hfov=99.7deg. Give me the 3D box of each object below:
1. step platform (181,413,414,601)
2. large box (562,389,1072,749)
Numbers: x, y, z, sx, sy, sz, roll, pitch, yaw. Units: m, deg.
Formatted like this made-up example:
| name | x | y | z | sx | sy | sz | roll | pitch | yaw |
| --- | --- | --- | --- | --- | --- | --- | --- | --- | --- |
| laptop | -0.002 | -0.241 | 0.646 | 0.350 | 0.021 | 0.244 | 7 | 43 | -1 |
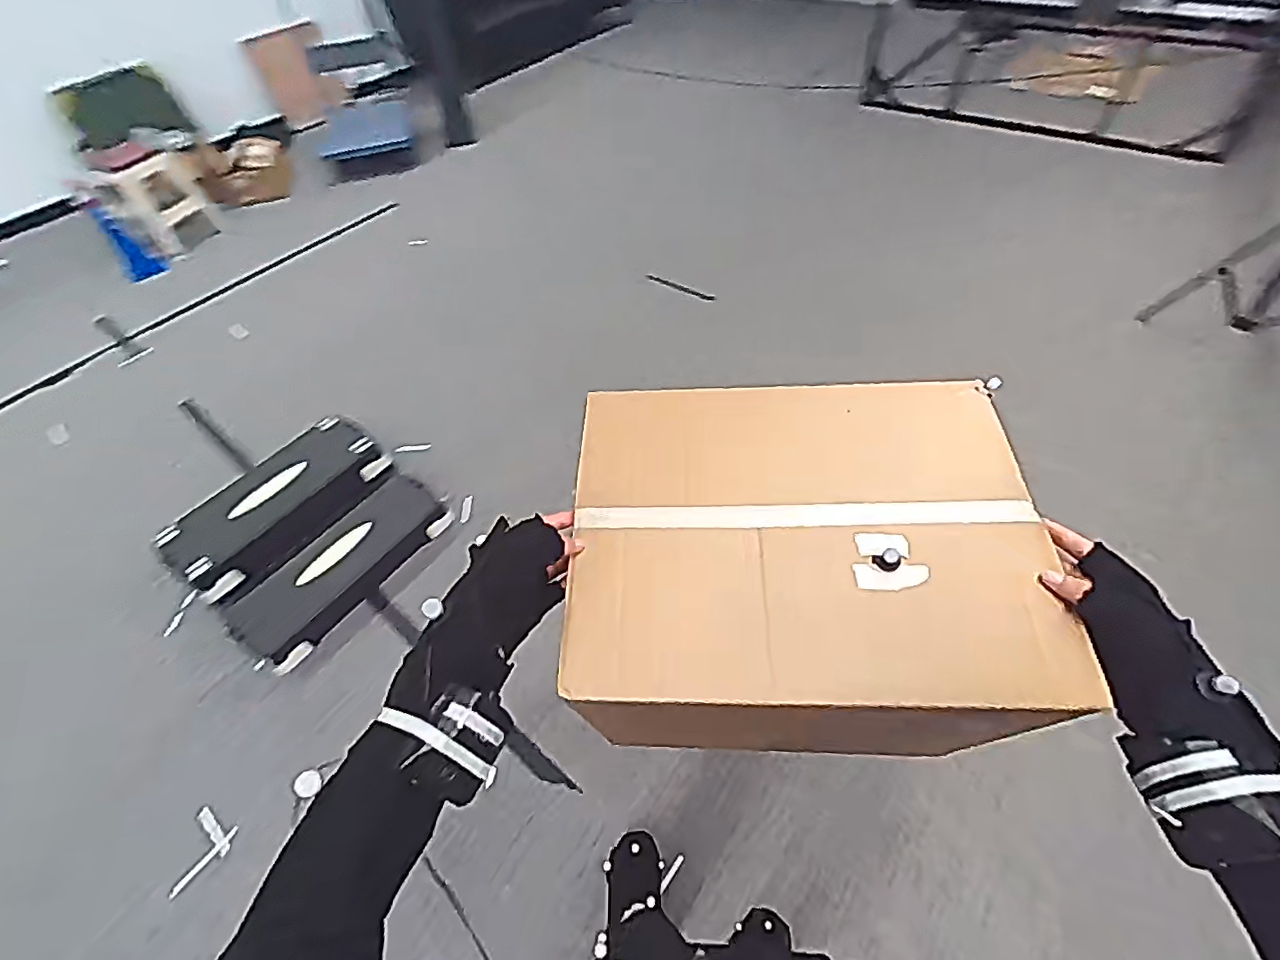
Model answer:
| name | x | y | z | sx | sy | sz | roll | pitch | yaw |
| --- | --- | --- | --- | --- | --- | --- | --- | --- | --- |
| step platform | -1.134 | 0.066 | 1.830 | 0.286 | 0.204 | 0.684 | 28 | 59 | 25 |
| large box | 0.143 | 0.120 | 0.626 | 0.408 | 0.320 | 0.320 | -2 | 58 | 4 |
